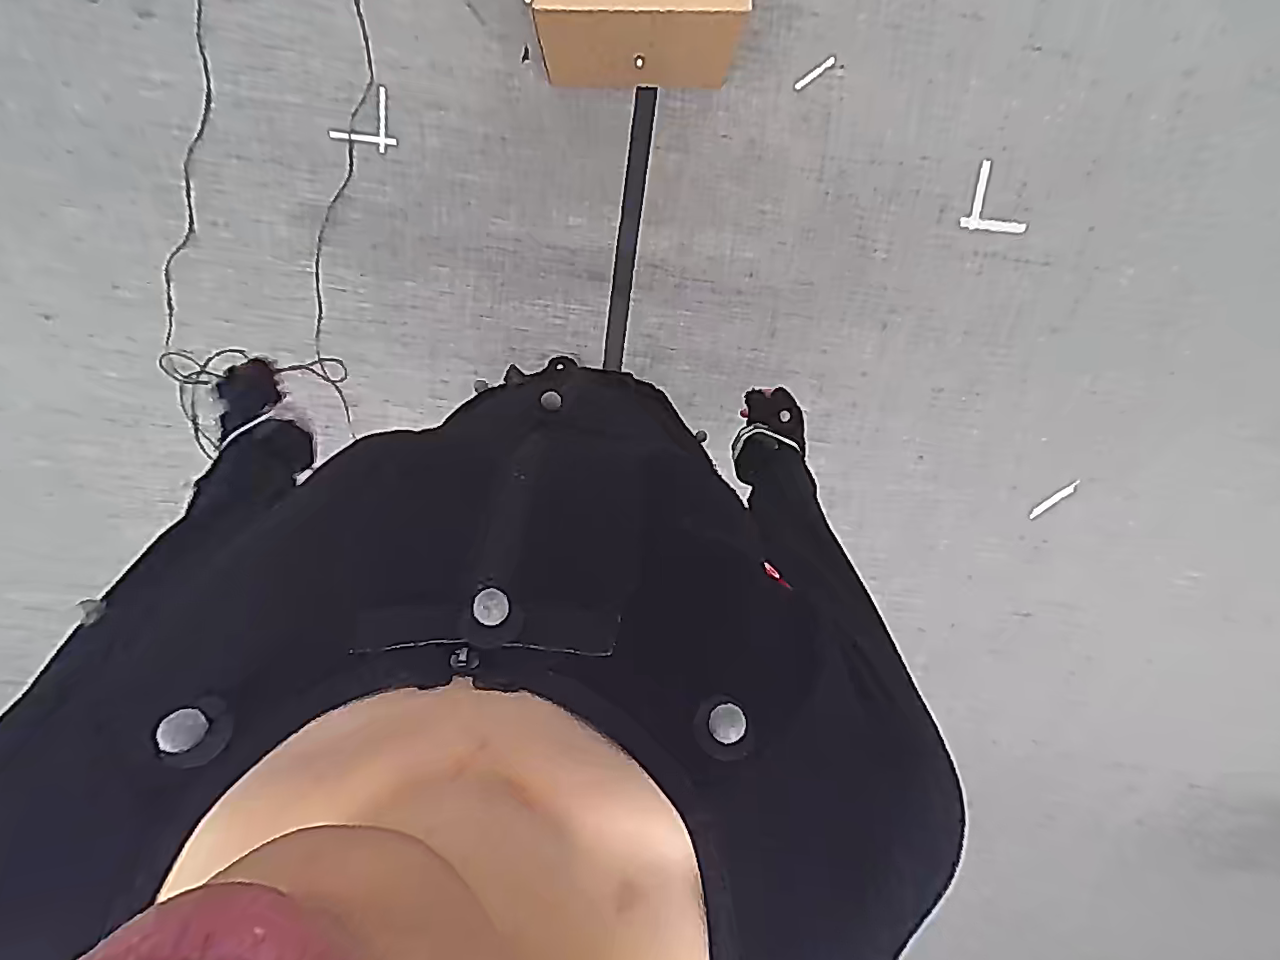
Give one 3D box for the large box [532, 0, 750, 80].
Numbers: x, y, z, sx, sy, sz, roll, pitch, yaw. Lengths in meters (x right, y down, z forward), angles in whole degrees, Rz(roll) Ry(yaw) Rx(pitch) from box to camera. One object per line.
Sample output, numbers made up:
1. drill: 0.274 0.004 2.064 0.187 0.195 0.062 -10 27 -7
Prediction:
1. large box: -0.003 -1.047 1.087 0.408 0.320 0.320 -1 104 -1
